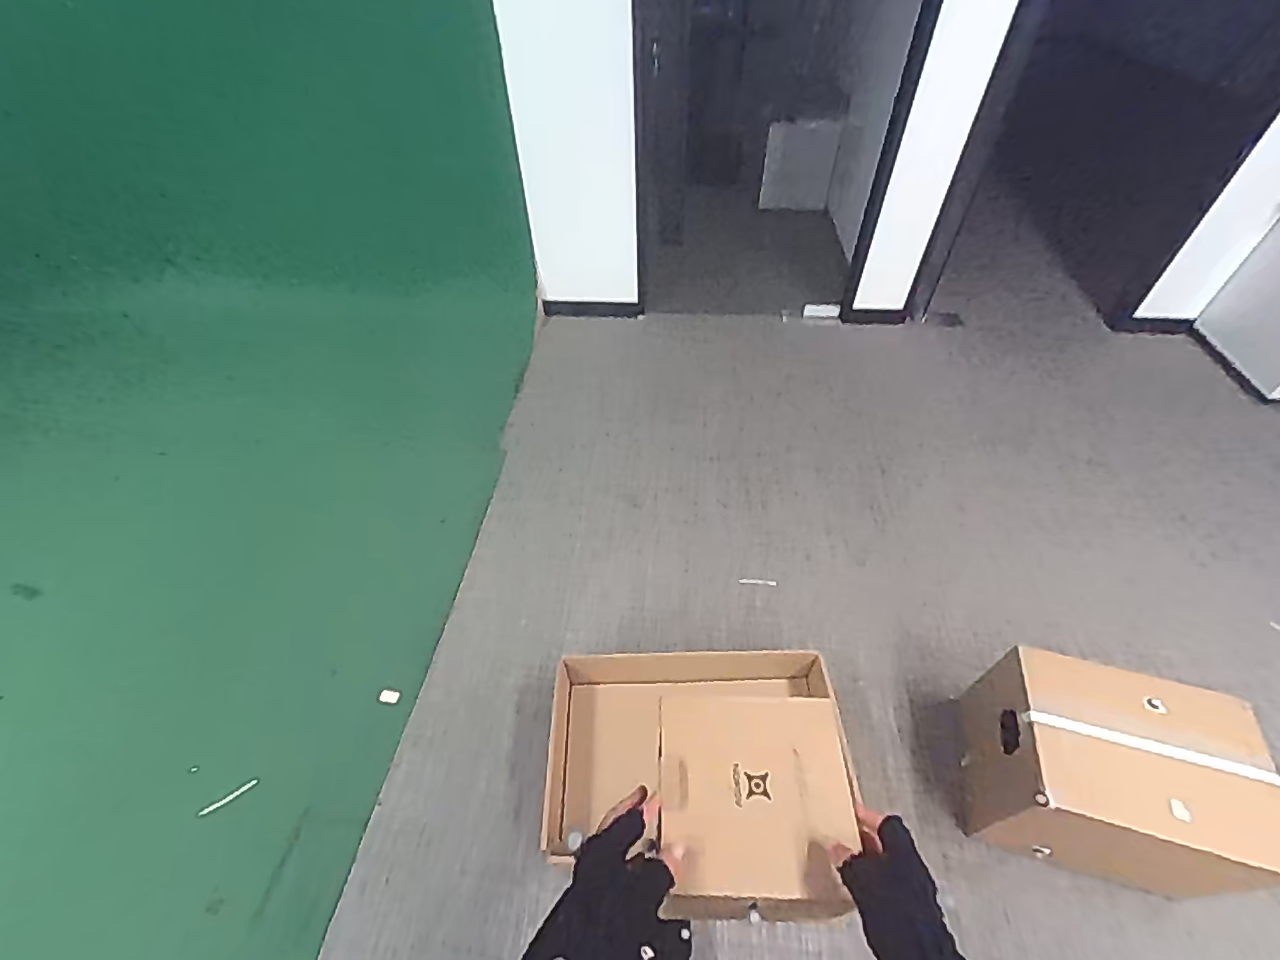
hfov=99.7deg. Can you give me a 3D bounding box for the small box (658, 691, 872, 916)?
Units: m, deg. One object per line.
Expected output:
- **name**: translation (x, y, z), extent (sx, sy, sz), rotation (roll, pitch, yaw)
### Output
- **small box**: translation (0.109, 0.332, 0.553), extent (0.179, 0.176, 0.168), rotation (1, 47, 2)
